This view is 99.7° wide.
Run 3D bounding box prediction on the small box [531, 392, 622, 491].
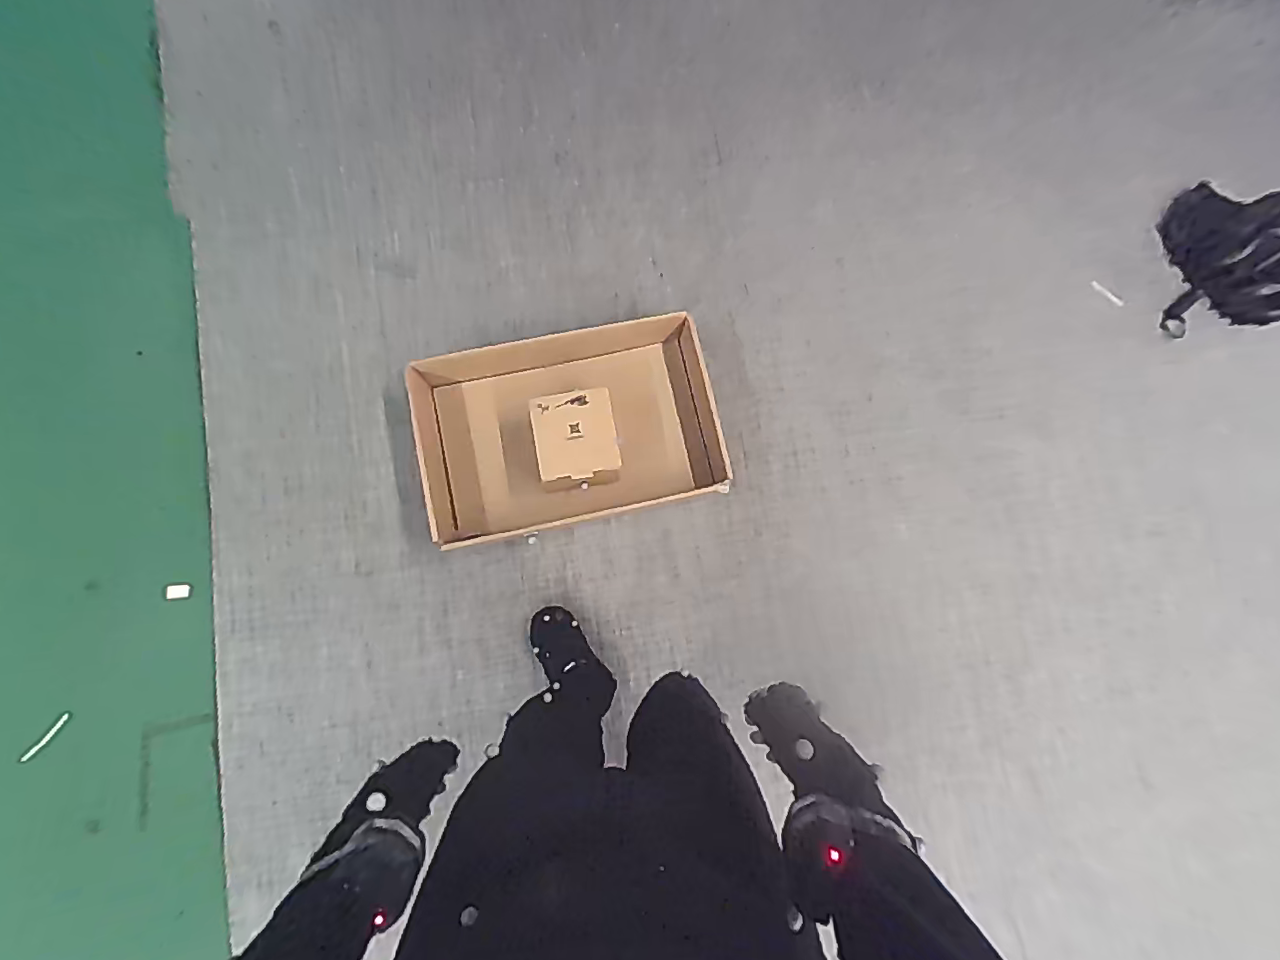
[{"bbox_3d":[-0.132,-0.074,1.172,0.168,0.176,0.179,-10,82,-4],"label":"small box"}]
